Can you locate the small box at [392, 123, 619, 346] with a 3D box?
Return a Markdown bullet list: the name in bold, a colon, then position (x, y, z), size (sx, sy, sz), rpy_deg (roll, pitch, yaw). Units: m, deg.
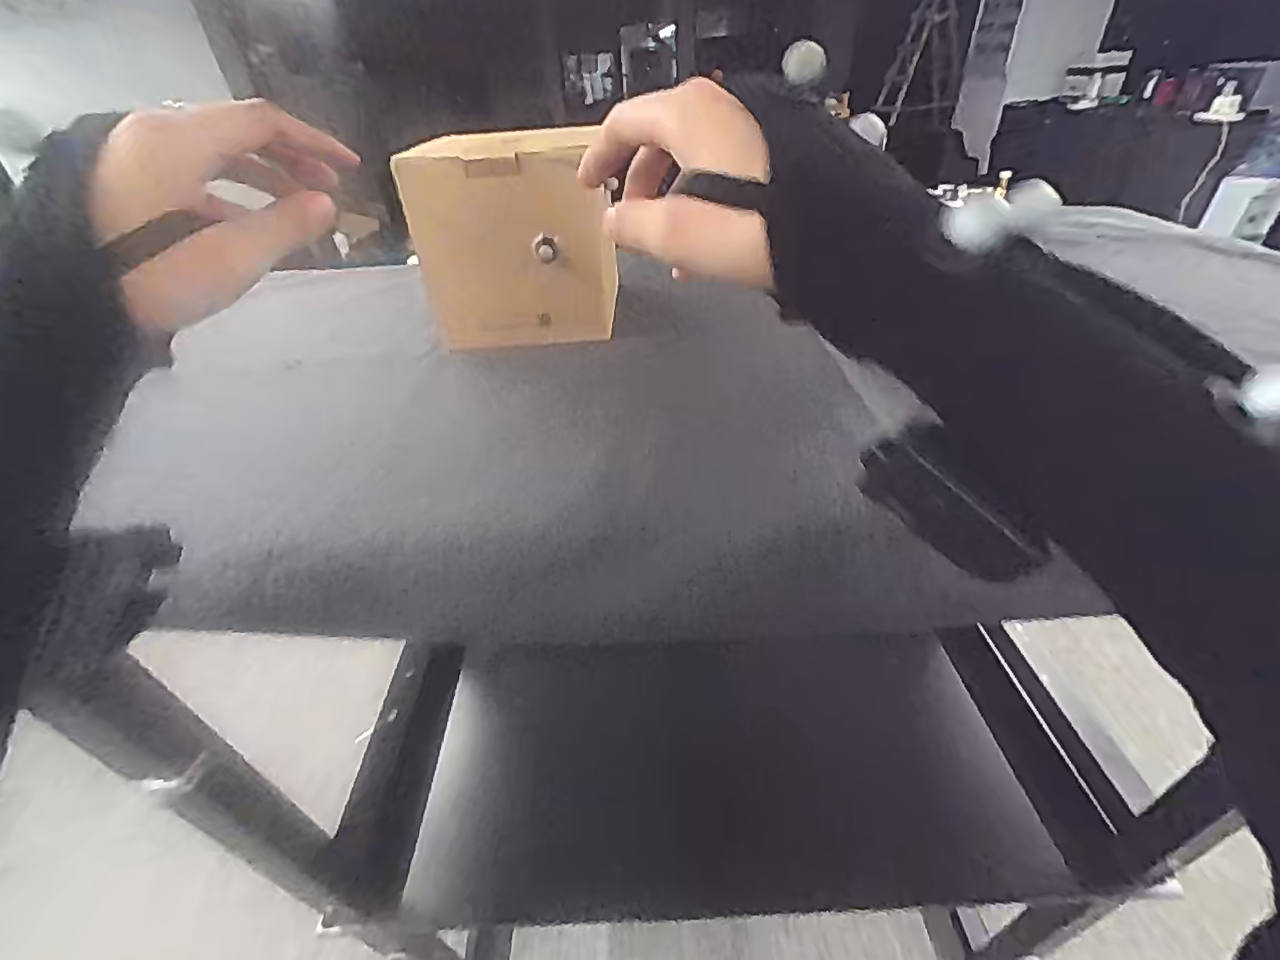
- **small box**: position (-0.111, -0.242, 0.541), size (0.168, 0.176, 0.179), rpy_deg (-2, 38, 3)
